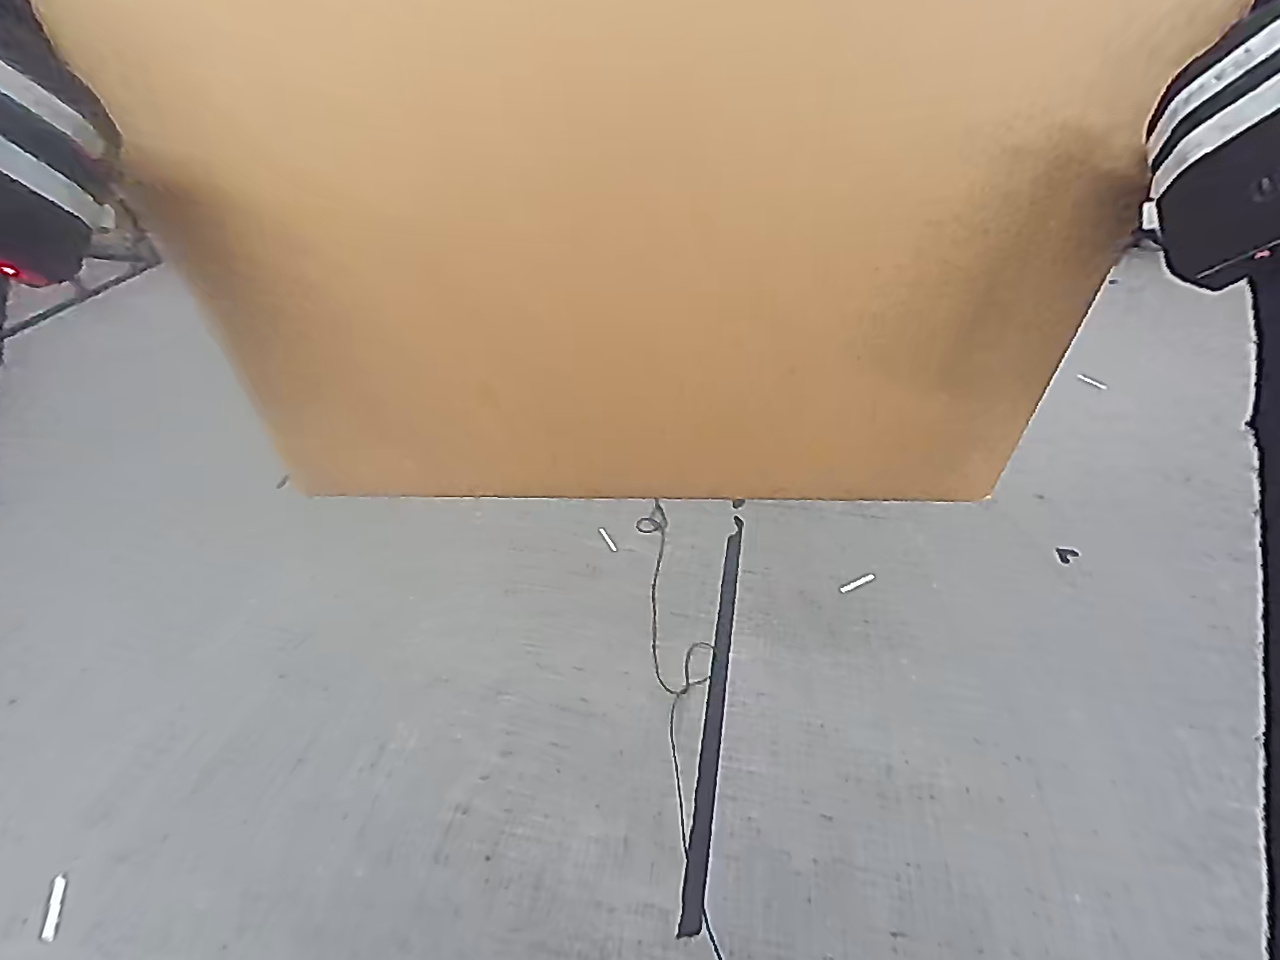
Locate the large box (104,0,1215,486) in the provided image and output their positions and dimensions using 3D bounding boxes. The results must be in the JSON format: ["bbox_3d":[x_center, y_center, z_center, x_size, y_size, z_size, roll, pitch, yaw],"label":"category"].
[{"bbox_3d":[0.005,-0.206,0.348,0.408,0.320,0.320,1,40,0],"label":"large box"}]
